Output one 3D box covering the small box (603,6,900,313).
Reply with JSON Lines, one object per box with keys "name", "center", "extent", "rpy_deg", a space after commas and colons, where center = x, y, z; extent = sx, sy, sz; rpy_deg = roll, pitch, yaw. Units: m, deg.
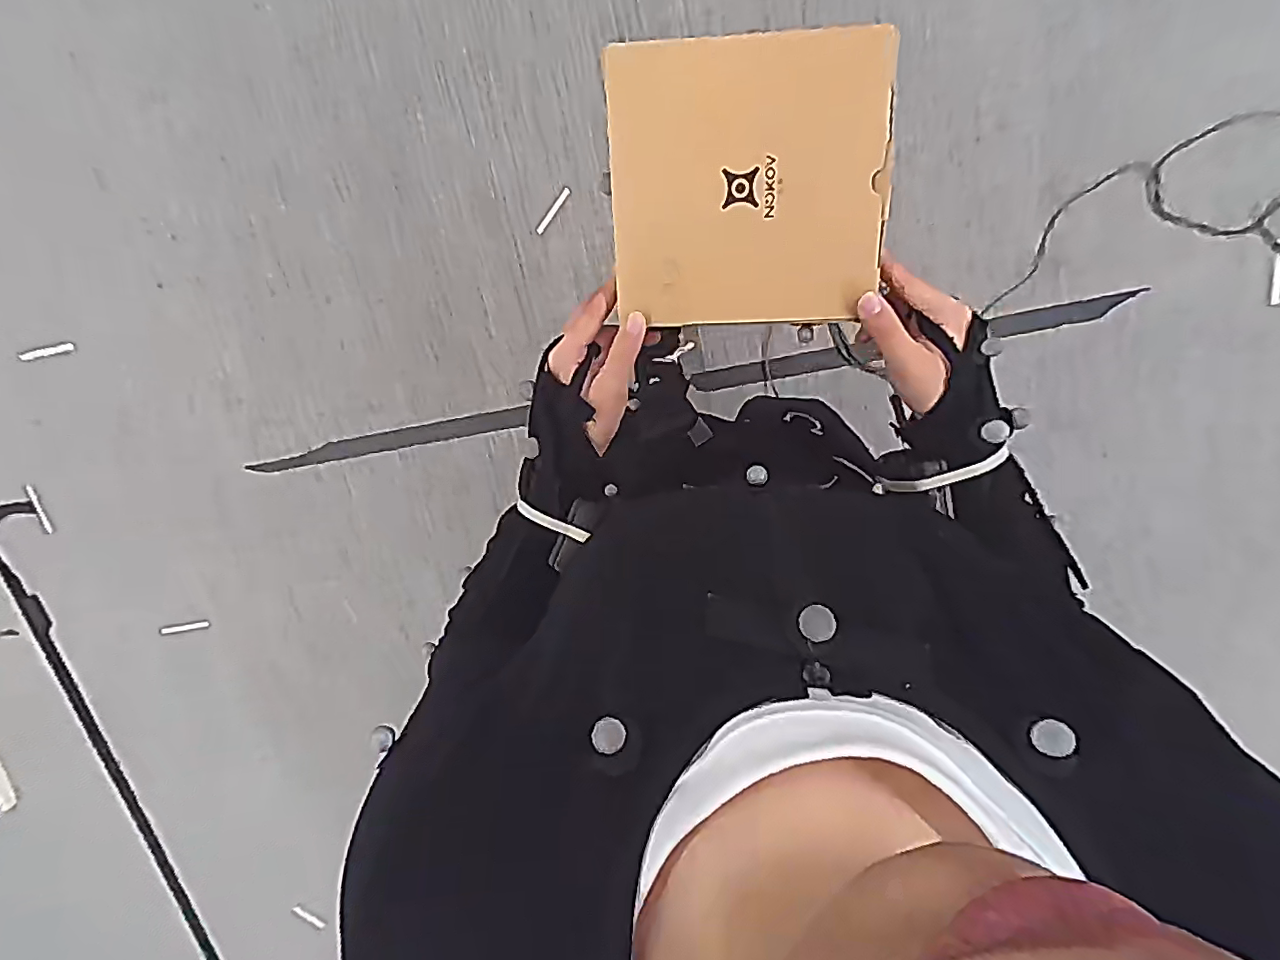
{"name": "small box", "center": [0.071, -0.217, 0.416], "extent": [0.179, 0.176, 0.168], "rpy_deg": [-2, 107, 3]}
